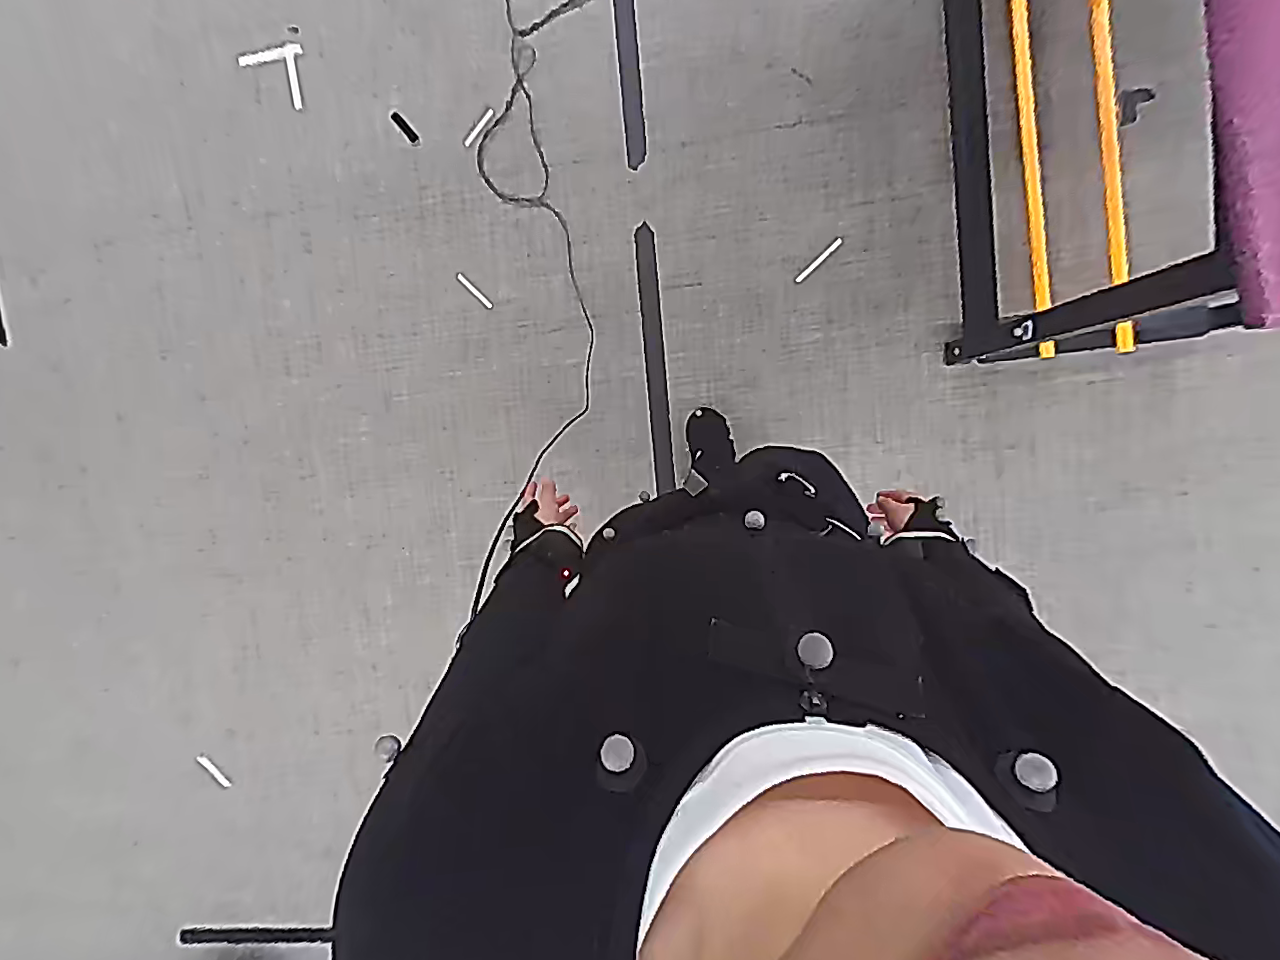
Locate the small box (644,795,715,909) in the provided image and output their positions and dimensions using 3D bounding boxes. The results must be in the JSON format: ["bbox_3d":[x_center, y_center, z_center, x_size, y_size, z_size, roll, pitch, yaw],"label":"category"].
[{"bbox_3d":[0.104,0.939,1.374,0.168,0.176,0.179,-3,94,6],"label":"small box"}]
